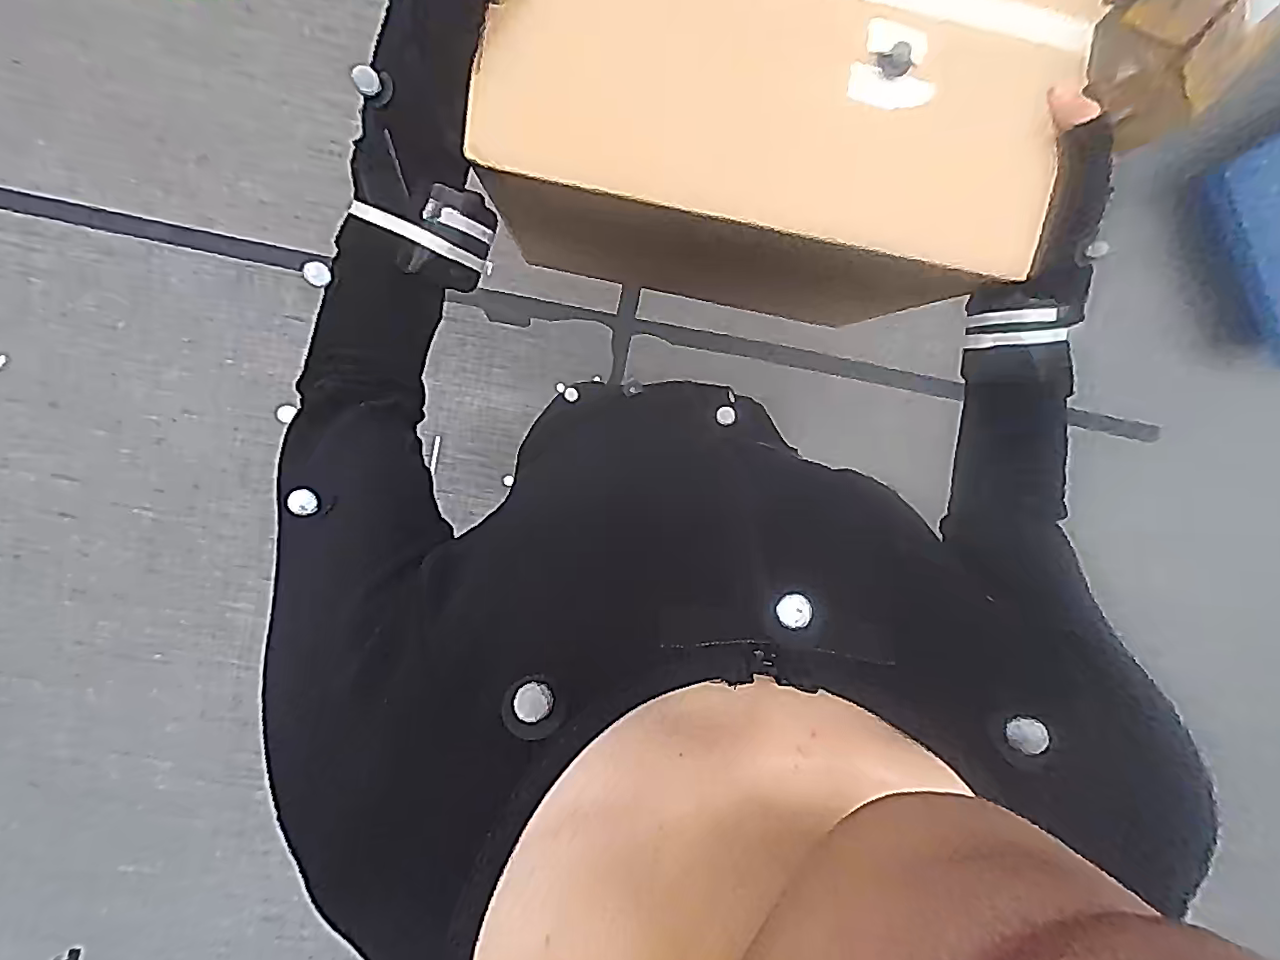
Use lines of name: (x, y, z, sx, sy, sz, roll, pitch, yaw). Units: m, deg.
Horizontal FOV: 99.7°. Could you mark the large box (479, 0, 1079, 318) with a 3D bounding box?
large box: (0.093, -0.360, 0.509, 0.408, 0.320, 0.320, 9, 99, -6)
